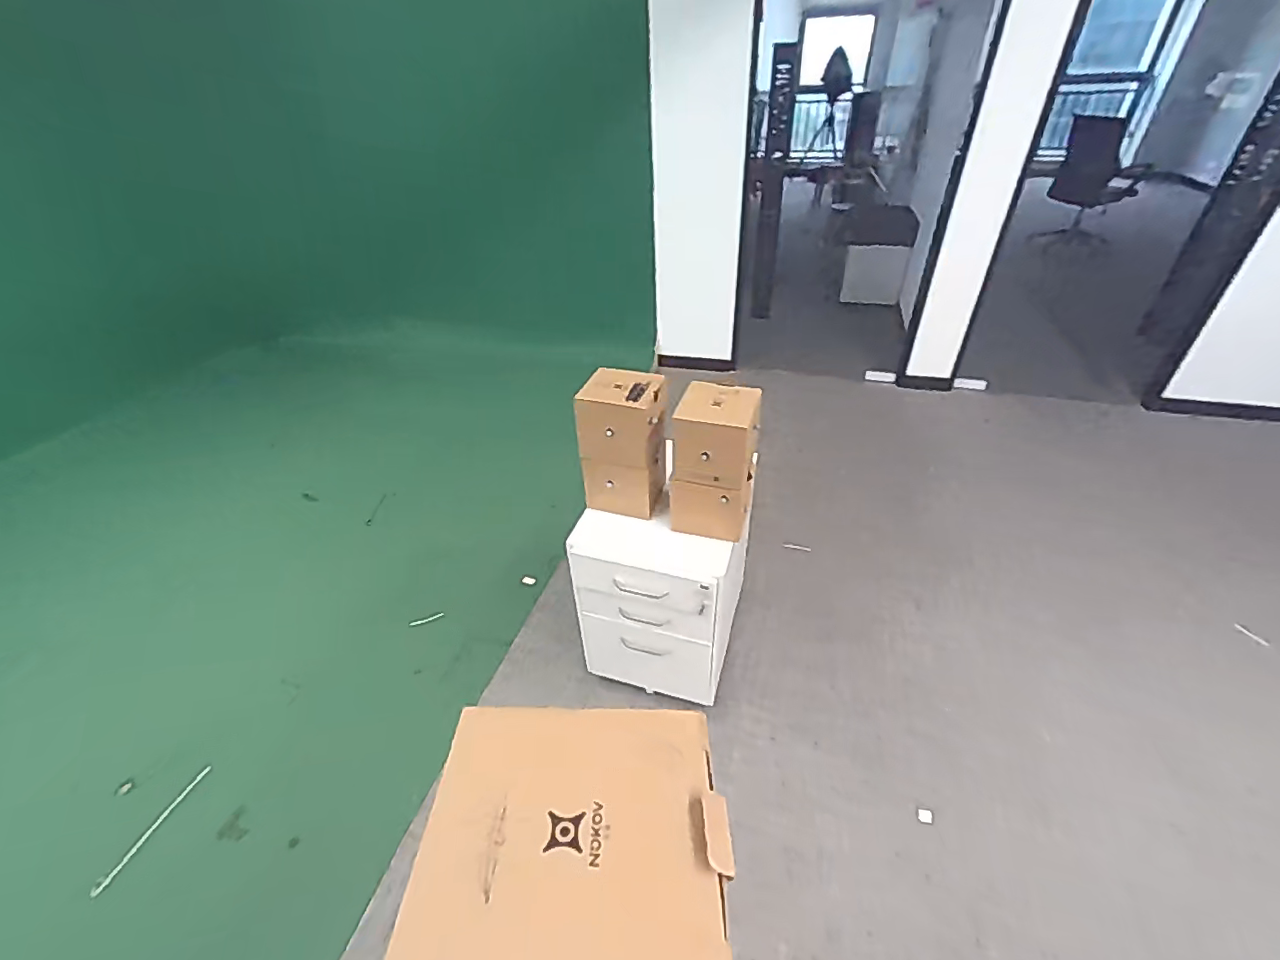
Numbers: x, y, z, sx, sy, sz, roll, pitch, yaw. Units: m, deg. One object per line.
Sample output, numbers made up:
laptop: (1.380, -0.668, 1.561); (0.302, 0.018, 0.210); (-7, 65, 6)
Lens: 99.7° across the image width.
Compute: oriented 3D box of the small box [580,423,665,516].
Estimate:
small box: (-0.040, -0.027, 1.411); (0.179, 0.176, 0.168); (10, 40, 14)

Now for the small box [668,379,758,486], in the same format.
small box: (0.169, -0.108, 1.234); (0.168, 0.176, 0.179); (11, 40, 16)

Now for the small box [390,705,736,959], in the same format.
small box: (-0.039, 0.277, 0.364); (0.179, 0.176, 0.168); (0, 31, 0)
